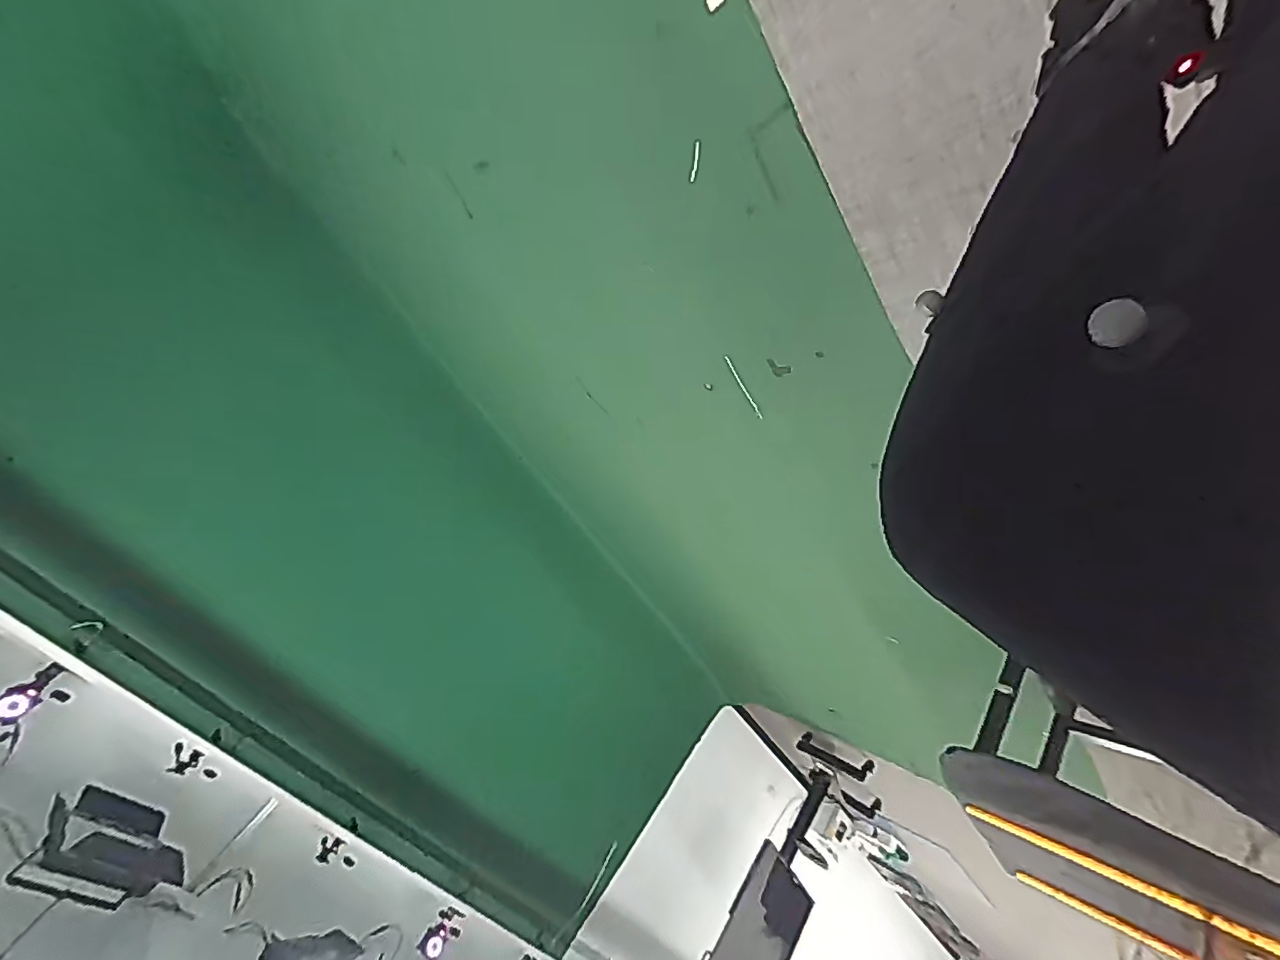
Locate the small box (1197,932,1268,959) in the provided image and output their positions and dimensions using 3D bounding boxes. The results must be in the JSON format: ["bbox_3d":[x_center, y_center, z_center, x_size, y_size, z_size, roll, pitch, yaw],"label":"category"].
[{"bbox_3d":[1.453,1.238,1.281,0.179,0.176,0.168,53,151,-19],"label":"small box"}]
